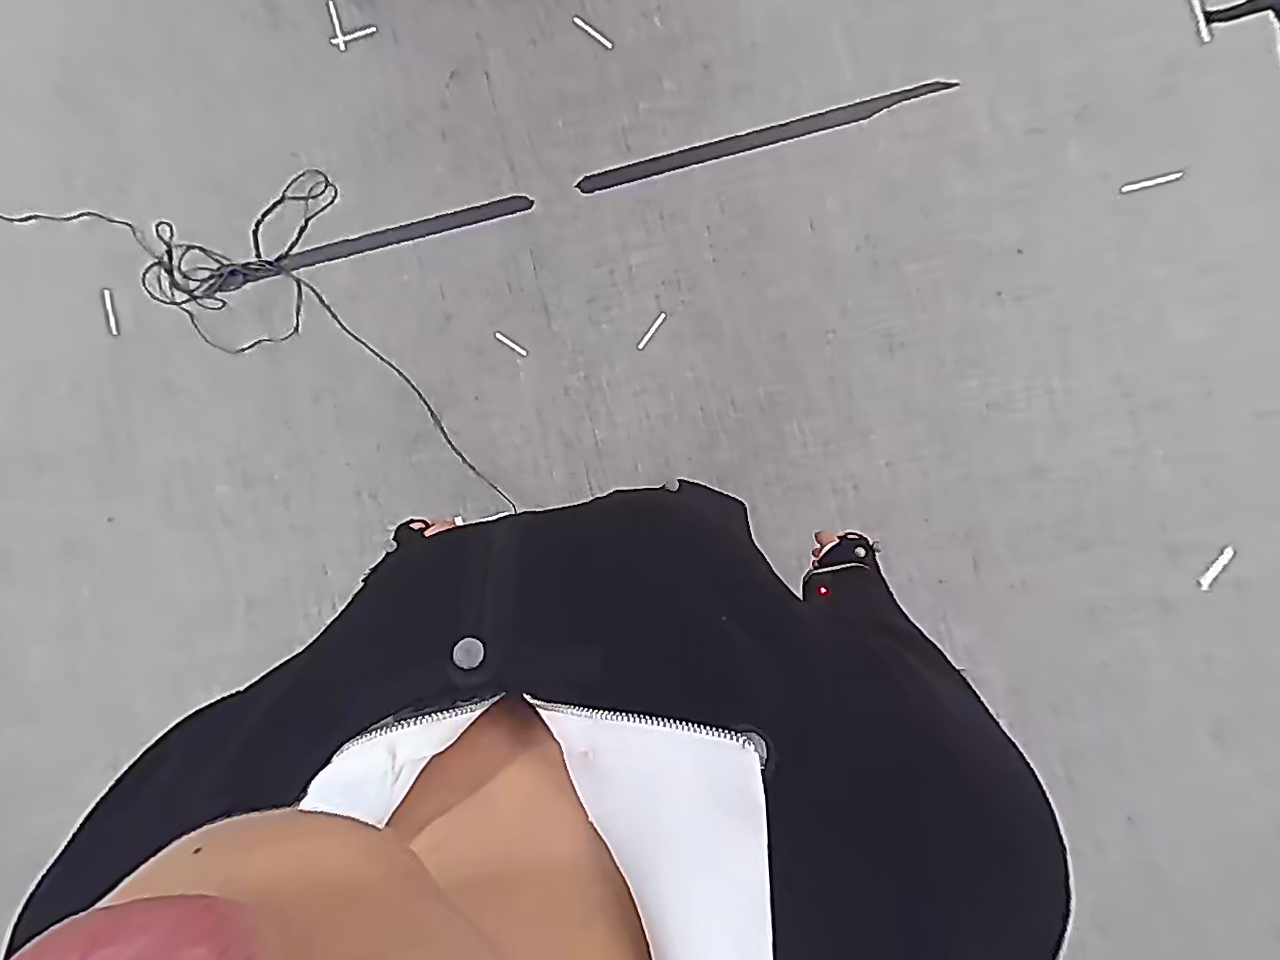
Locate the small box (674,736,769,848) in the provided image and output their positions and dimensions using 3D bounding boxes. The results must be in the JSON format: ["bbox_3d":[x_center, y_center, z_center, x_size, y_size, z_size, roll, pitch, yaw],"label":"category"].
[{"bbox_3d":[0.177,0.663,1.200,0.168,0.176,0.179,-16,88,3],"label":"small box"}]
